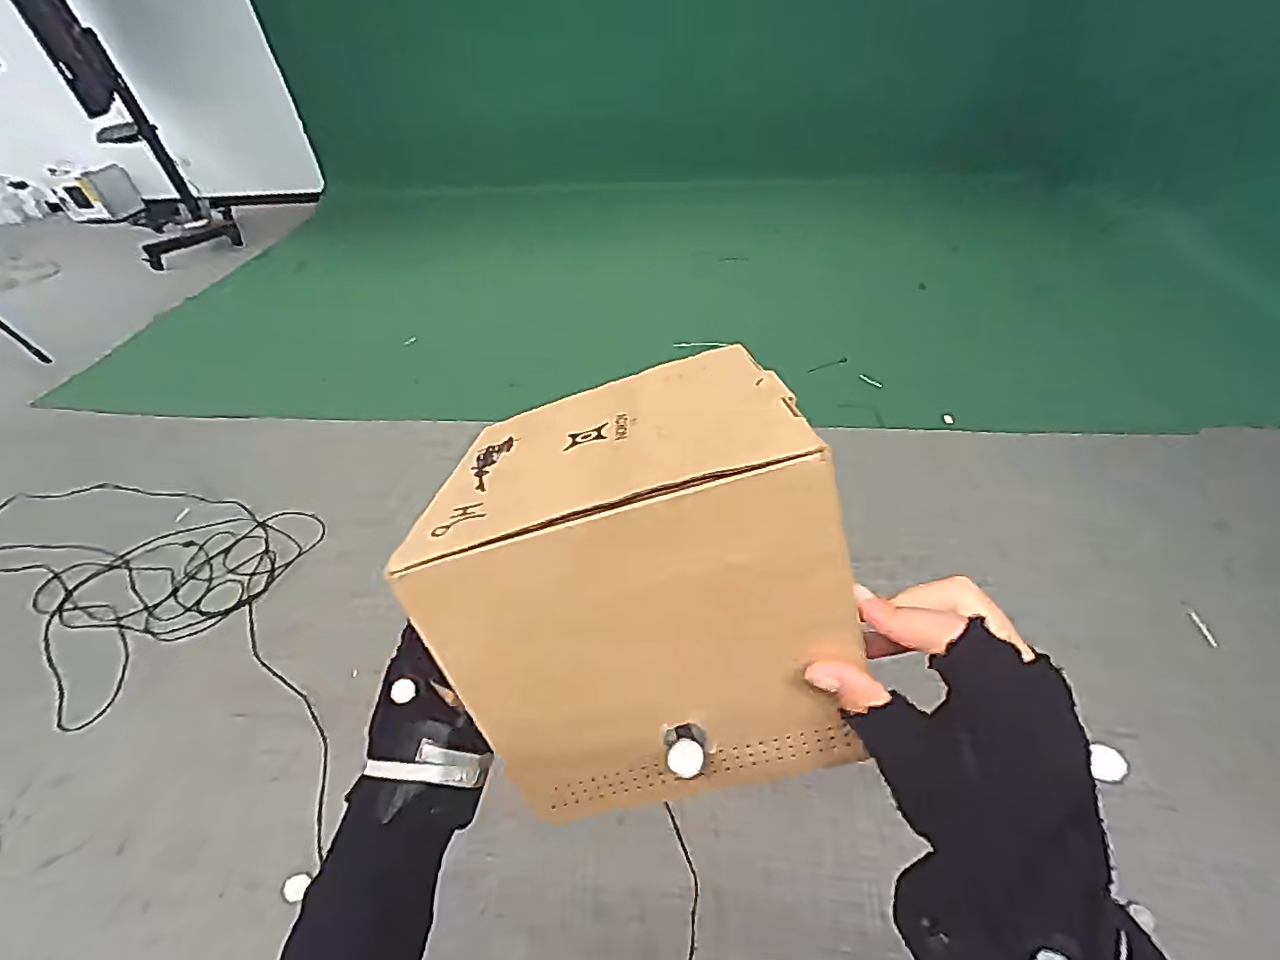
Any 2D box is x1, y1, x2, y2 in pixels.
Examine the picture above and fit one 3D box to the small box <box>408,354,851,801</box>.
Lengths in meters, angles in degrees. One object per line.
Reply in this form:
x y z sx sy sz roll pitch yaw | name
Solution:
0.009 0.049 0.316 0.179 0.176 0.168 -17 25 7 | small box
